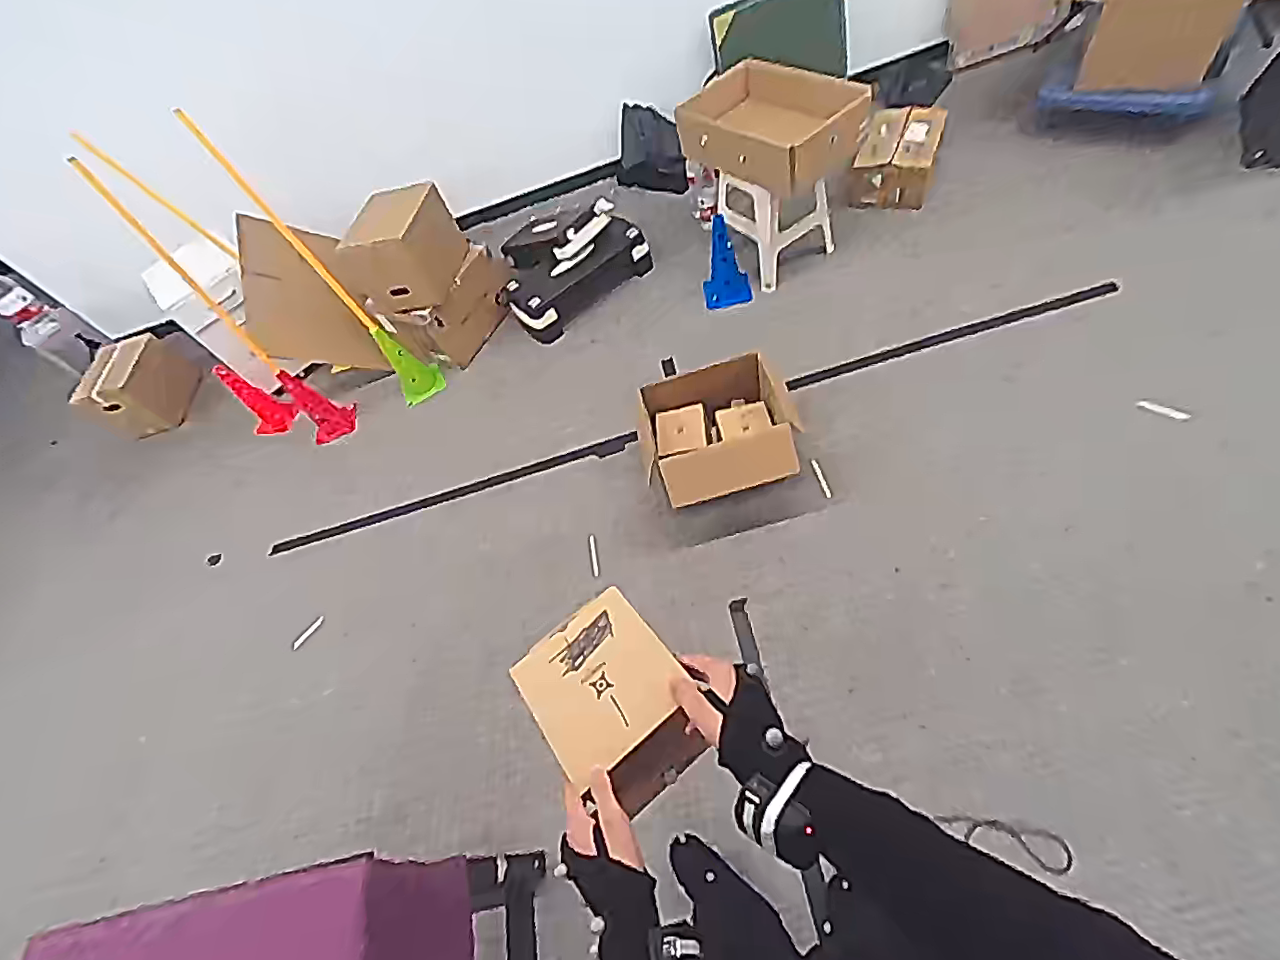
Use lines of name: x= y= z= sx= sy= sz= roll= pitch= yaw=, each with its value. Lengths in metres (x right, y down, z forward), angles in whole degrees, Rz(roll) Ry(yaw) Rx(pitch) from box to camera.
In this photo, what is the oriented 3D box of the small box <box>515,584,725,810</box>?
small box: x=-0.020 y=0.270 z=0.670 sx=0.168 sy=0.176 sz=0.179 roll=-38 pitch=49 yaw=-10
